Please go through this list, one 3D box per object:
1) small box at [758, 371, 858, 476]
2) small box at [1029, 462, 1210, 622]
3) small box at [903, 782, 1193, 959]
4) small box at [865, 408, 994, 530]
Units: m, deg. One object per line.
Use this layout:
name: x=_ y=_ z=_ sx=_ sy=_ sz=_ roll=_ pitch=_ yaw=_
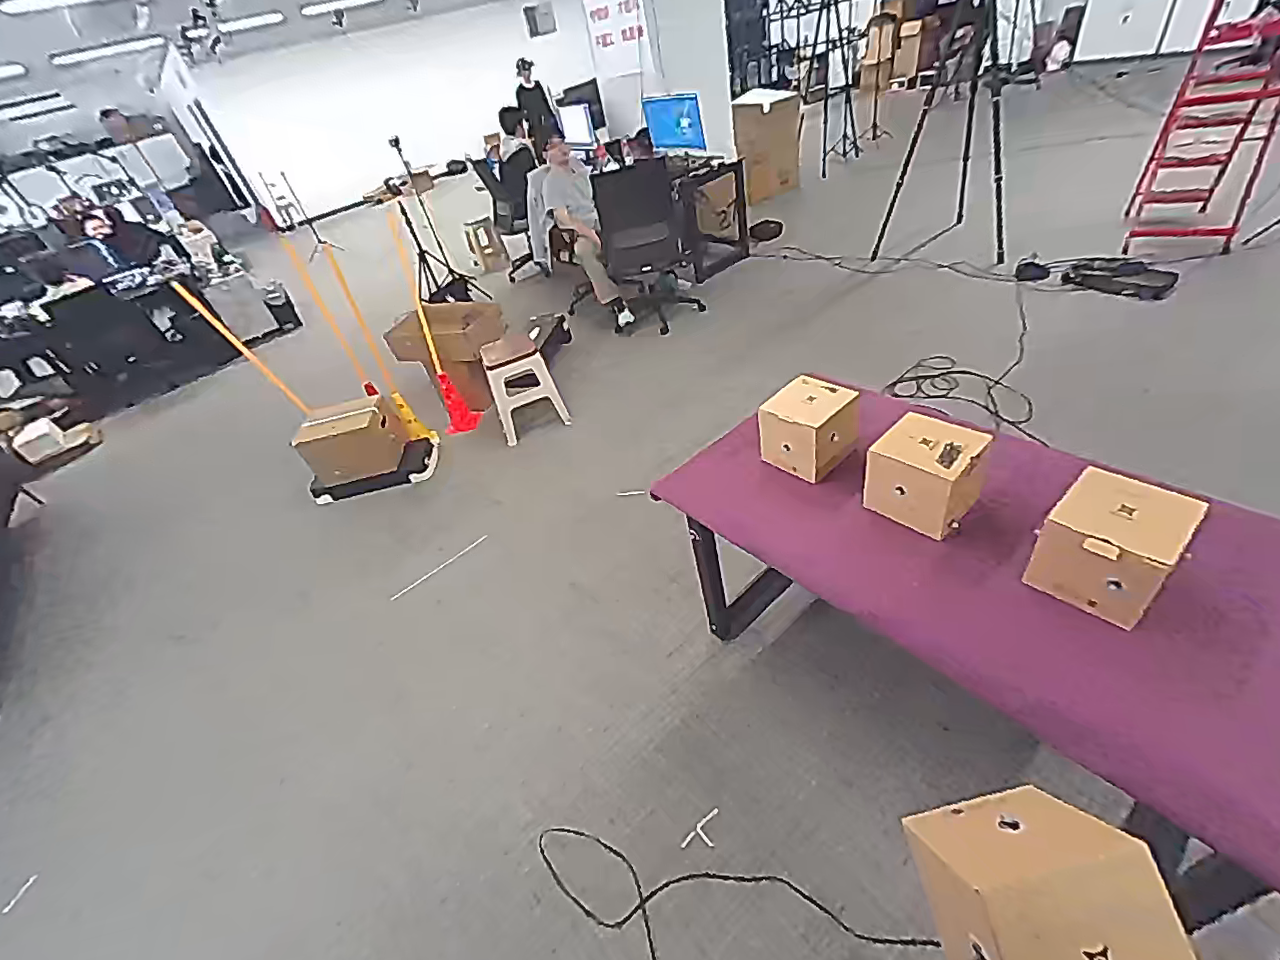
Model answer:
small box: x=0.414 y=-0.137 z=1.330 sx=0.179 sy=0.176 sz=0.168 roll=-37 pitch=45 yaw=-23
small box: x=0.803 y=0.106 z=0.925 sx=0.179 sy=0.176 sz=0.168 roll=-35 pitch=44 yaw=-23
small box: x=0.406 y=0.438 z=0.560 sx=0.168 sy=0.176 sz=0.179 roll=-15 pitch=77 yaw=0
small box: x=0.598 y=-0.020 z=1.136 sx=0.168 sy=0.176 sz=0.179 roll=-36 pitch=43 yaw=-23
